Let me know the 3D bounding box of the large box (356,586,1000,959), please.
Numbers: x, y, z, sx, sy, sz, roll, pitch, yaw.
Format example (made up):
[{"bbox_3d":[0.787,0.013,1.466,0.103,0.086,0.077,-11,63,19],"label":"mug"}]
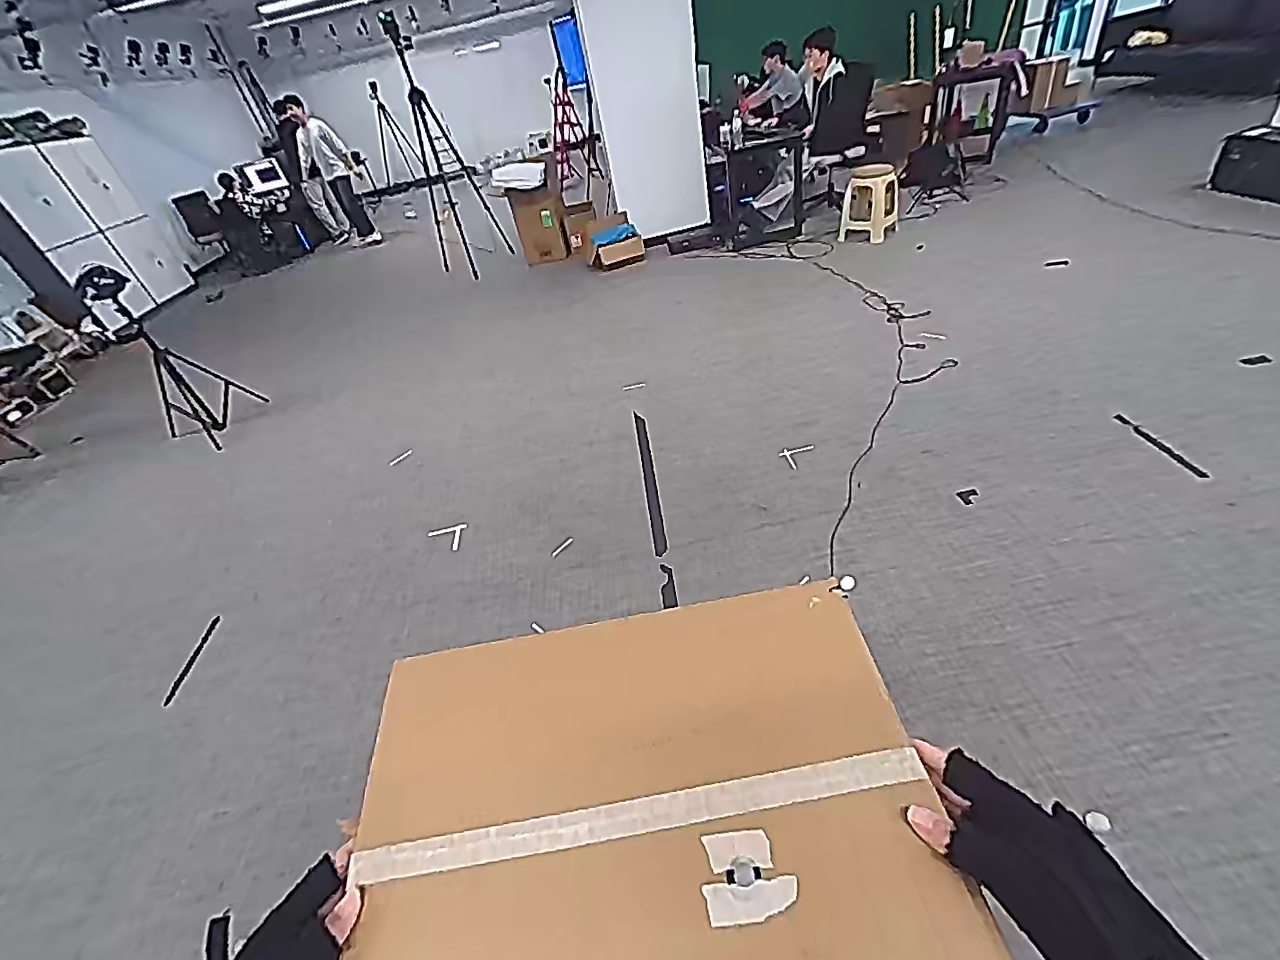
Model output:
[{"bbox_3d":[0.018,0.344,0.498,0.408,0.320,0.320,-10,46,0],"label":"large box"}]
